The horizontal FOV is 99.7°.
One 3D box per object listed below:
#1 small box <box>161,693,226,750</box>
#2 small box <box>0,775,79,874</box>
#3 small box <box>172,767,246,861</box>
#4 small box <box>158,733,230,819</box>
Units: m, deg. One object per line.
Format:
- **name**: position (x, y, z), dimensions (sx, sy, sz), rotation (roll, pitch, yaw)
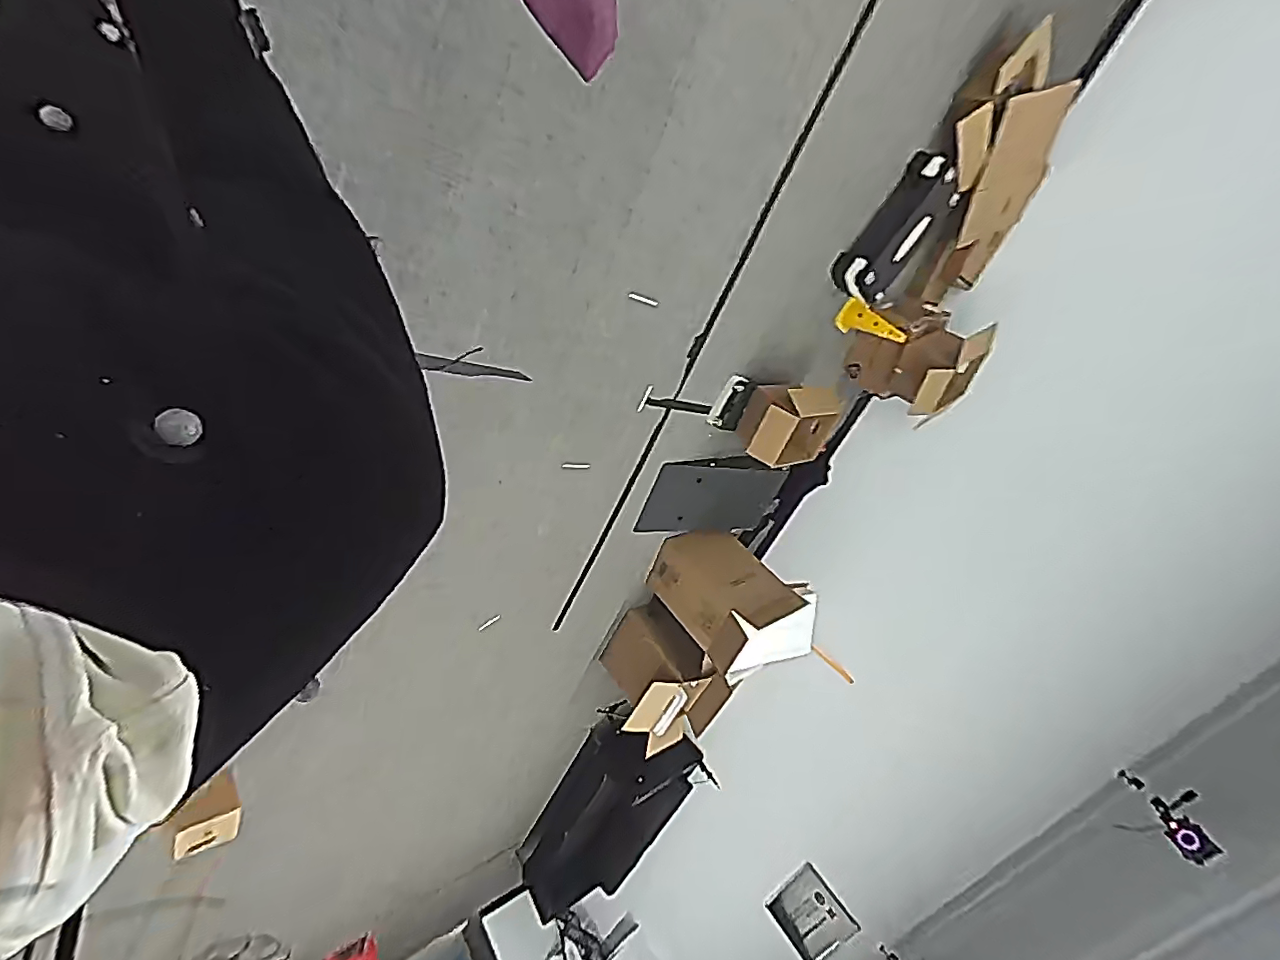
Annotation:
- **small box**: position (-1.624, 0.912, 1.965), dimensions (0.168, 0.176, 0.179), rotation (-6, 130, -44)
- **small box**: position (-1.793, 1.010, 1.595), dimensions (0.179, 0.176, 0.168), rotation (5, 122, -49)
- **small box**: position (-1.420, 1.089, 1.777), dimensions (0.168, 0.176, 0.179), rotation (-4, 128, -47)
- **small box**: position (-1.538, 1.012, 1.867), dimensions (0.179, 0.176, 0.168), rotation (-7, 131, -44)
